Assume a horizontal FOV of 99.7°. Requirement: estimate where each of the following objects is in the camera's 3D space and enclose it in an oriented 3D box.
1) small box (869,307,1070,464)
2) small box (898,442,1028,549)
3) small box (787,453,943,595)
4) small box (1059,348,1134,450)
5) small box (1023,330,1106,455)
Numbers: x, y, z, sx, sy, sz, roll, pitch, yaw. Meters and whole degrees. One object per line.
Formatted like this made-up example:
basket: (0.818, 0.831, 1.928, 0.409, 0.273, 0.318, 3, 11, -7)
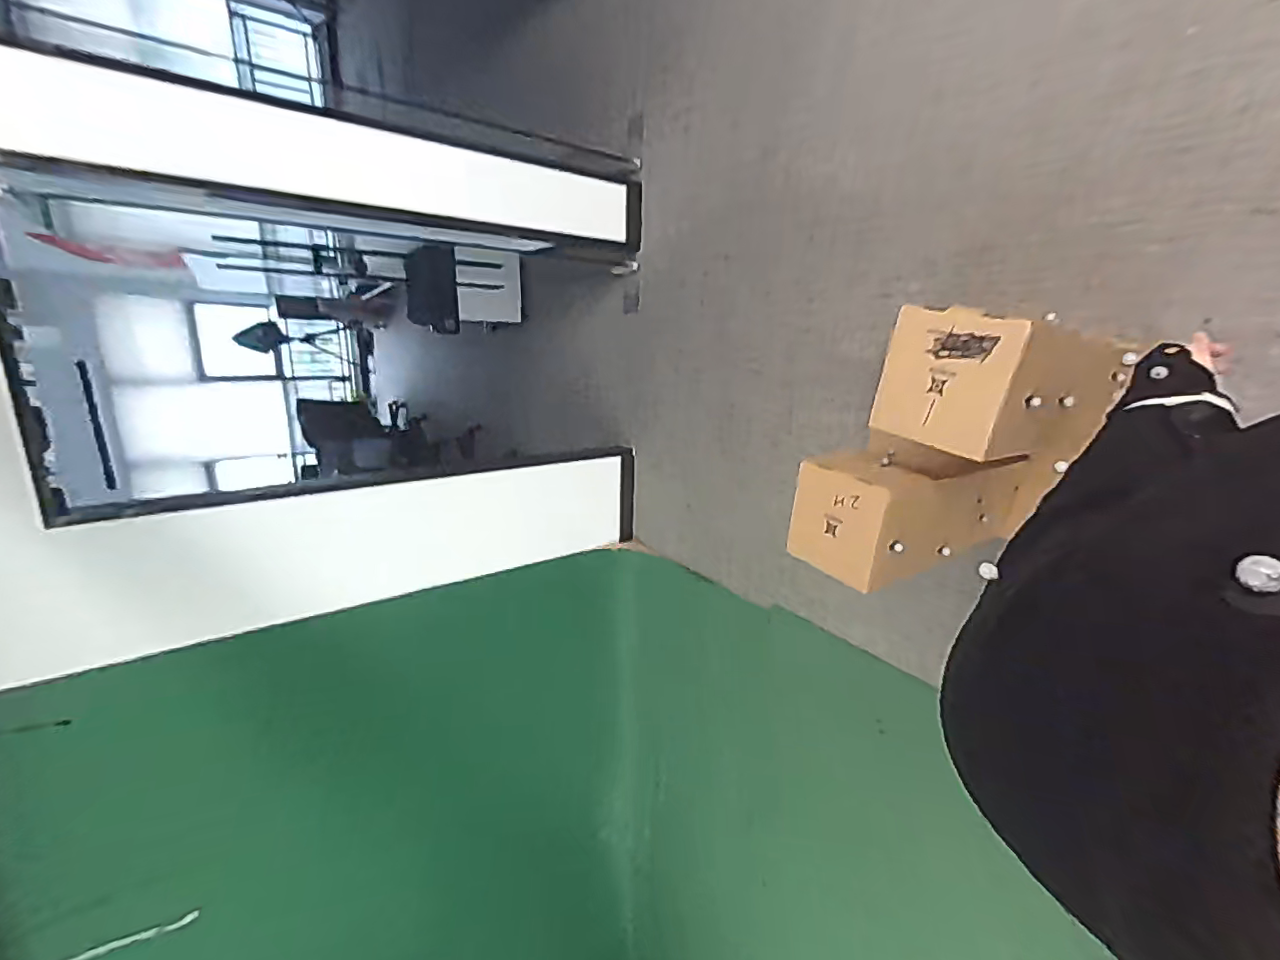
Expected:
small box: (0.462, -0.137, 0.761, 0.168, 0.176, 0.179, 33, 122, 49)
small box: (0.645, 0.021, 1.111, 0.179, 0.176, 0.168, 32, 123, 50)
small box: (0.380, 0.064, 0.918, 0.168, 0.176, 0.179, 29, 121, 50)
small box: (0.722, -0.161, 0.959, 0.179, 0.176, 0.168, 33, 121, 49)
small box: (0.594, -0.152, 0.858, 0.168, 0.176, 0.179, 33, 122, 48)
